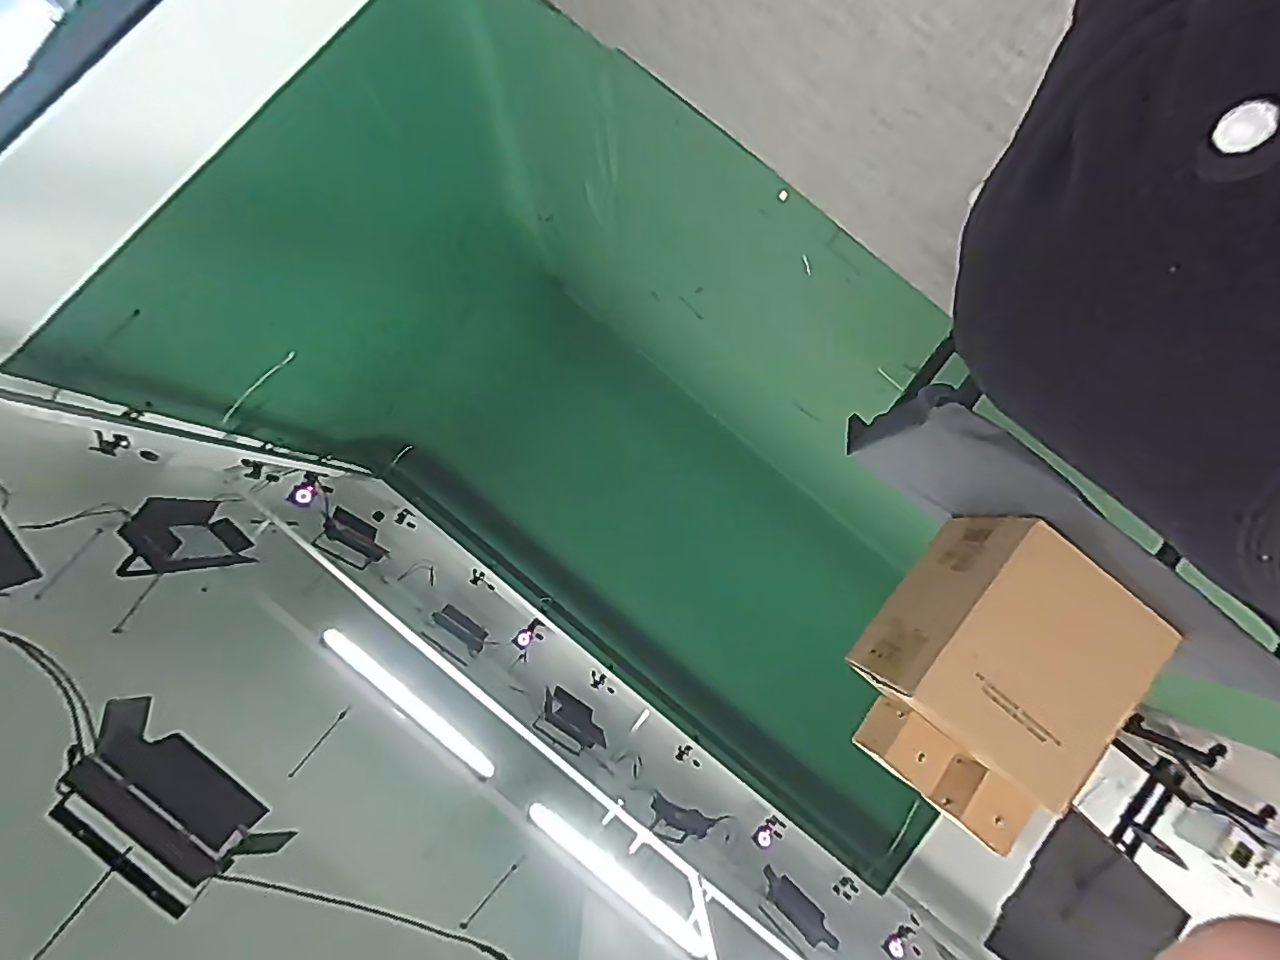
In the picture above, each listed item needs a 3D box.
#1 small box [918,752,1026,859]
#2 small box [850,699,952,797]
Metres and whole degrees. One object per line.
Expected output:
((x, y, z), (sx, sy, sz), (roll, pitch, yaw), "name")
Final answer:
((0.973, 0.944, 1.584), (0.179, 0.176, 0.168), (40, 169, -1), "small box")
((0.772, 0.784, 1.605), (0.179, 0.176, 0.168), (39, 169, -2), "small box")
